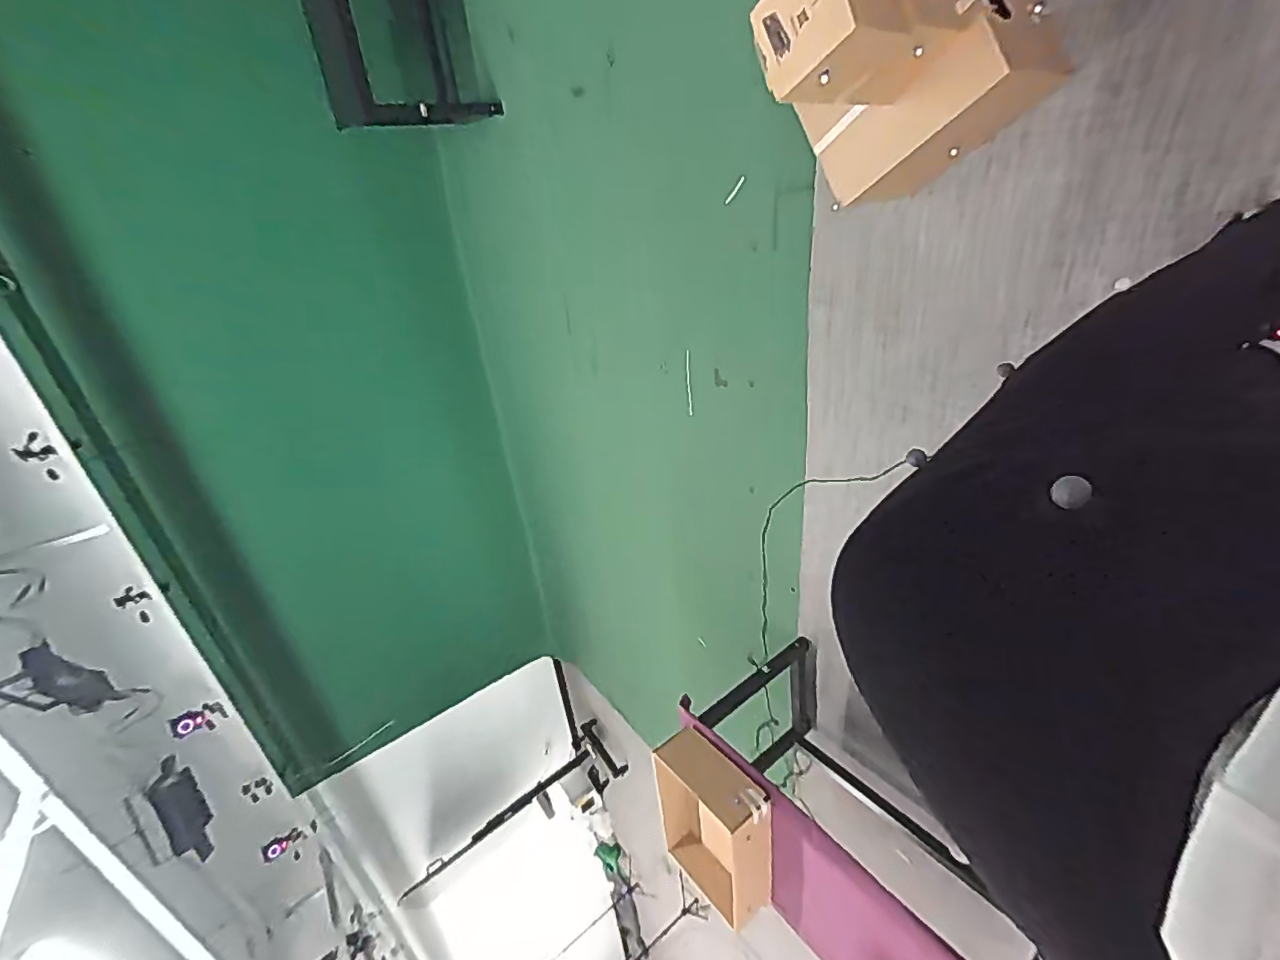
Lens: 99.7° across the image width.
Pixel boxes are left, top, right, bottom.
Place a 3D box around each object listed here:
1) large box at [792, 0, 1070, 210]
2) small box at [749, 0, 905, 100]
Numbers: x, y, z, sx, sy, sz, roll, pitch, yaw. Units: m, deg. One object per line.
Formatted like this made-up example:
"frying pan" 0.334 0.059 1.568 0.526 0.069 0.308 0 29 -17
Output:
"large box" 0.642 -0.900 1.235 0.408 0.320 0.320 -25 88 61
"small box" 0.332 -0.815 0.966 0.179 0.176 0.168 -12 100 58
